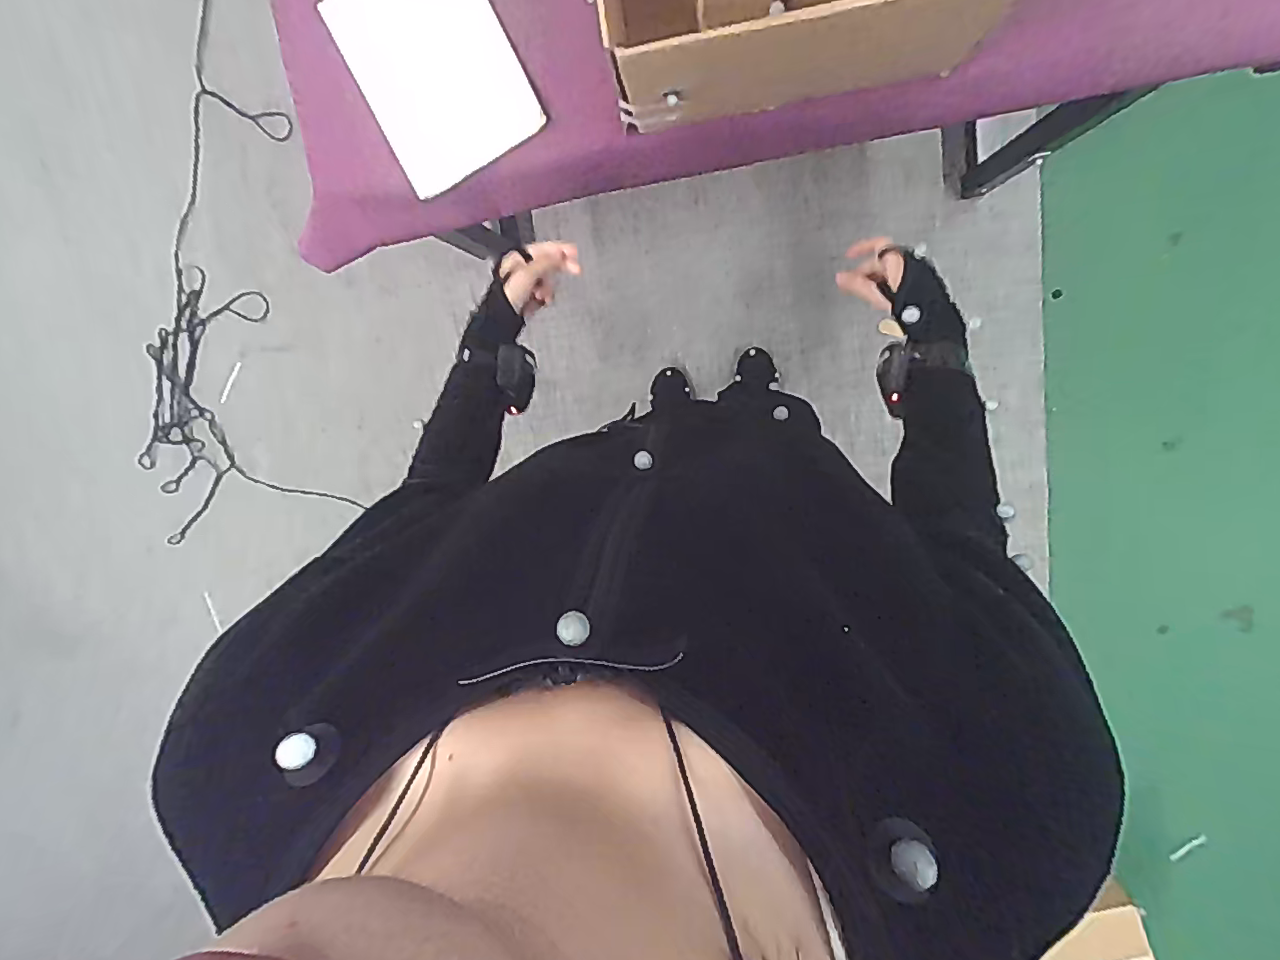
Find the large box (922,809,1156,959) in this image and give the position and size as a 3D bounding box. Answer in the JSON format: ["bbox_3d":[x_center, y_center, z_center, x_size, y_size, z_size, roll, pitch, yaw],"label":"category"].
[{"bbox_3d":[1.073,1.192,1.480,0.408,0.320,0.320,-22,99,9],"label":"large box"}]
